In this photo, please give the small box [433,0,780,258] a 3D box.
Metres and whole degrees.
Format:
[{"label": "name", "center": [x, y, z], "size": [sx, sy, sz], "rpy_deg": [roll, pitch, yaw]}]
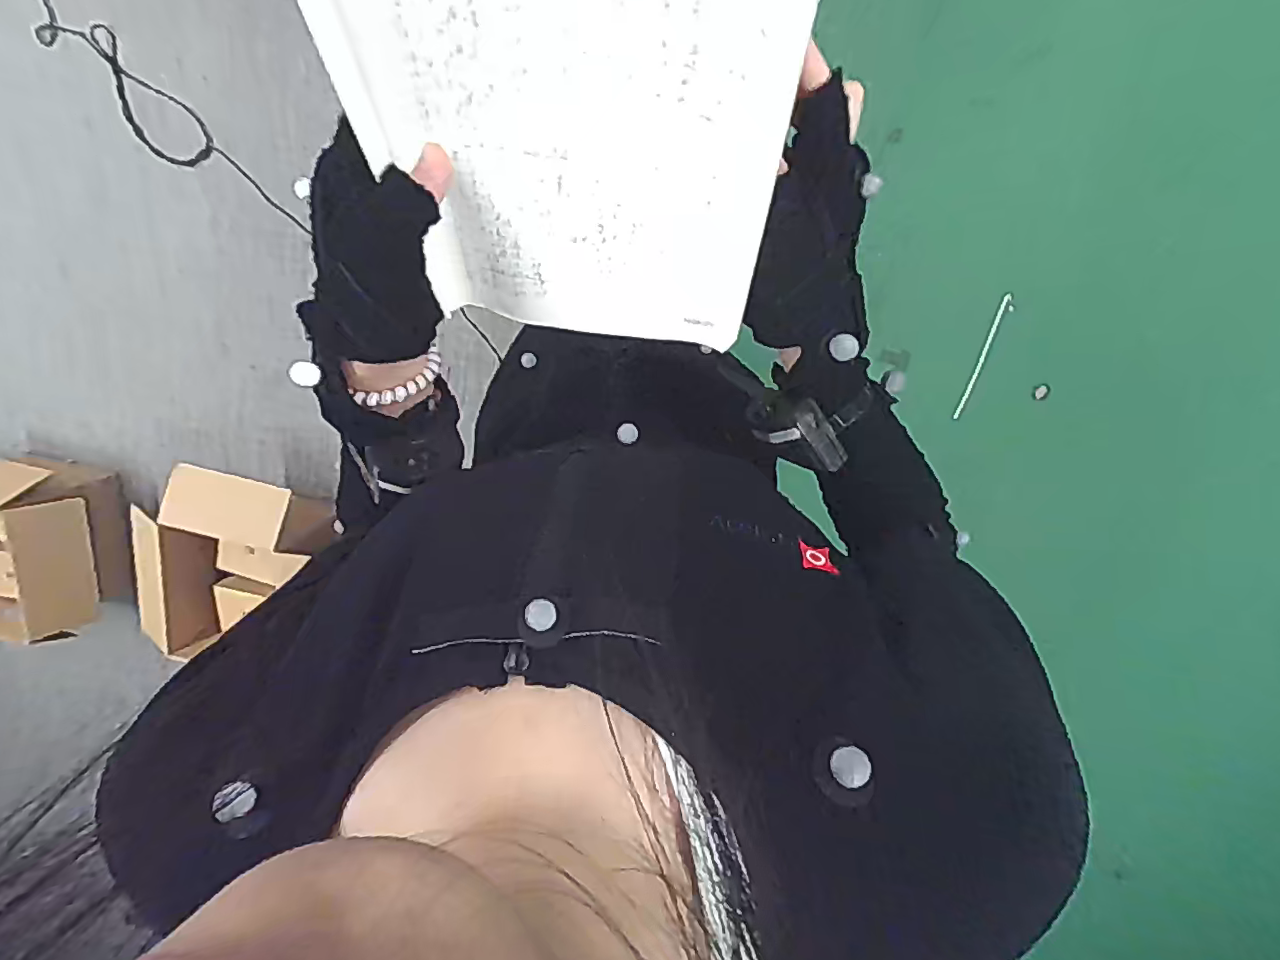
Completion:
[{"label": "small box", "center": [-0.010, -0.249, 0.331], "size": [0.168, 0.176, 0.179], "rpy_deg": [1, 127, 6]}]
